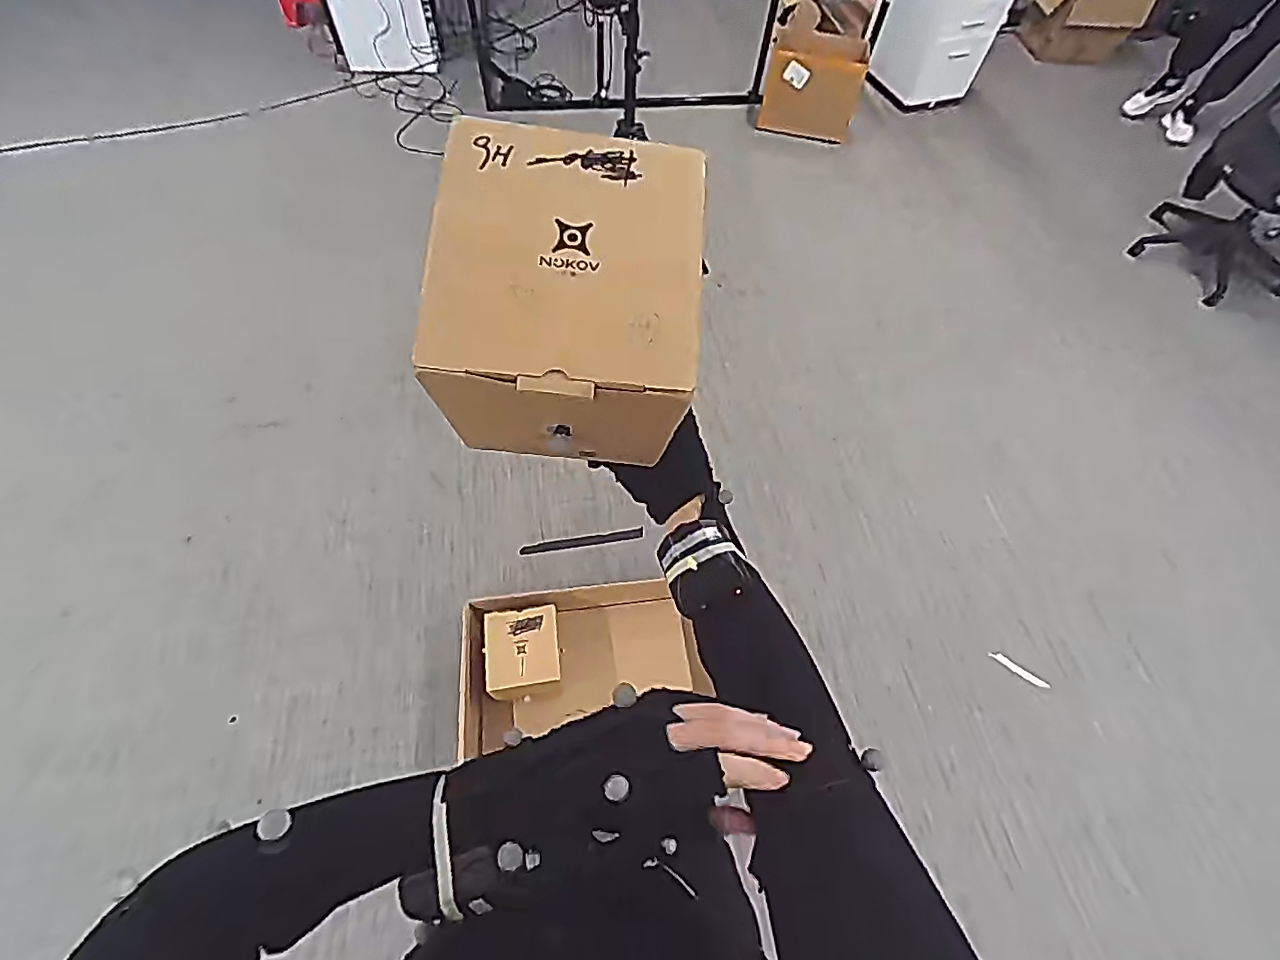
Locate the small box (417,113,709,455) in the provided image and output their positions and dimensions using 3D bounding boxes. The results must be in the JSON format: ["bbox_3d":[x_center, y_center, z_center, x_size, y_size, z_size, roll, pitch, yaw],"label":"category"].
[{"bbox_3d":[-0.049,-0.124,0.407,0.168,0.176,0.179,5,77,-5],"label":"small box"}]
